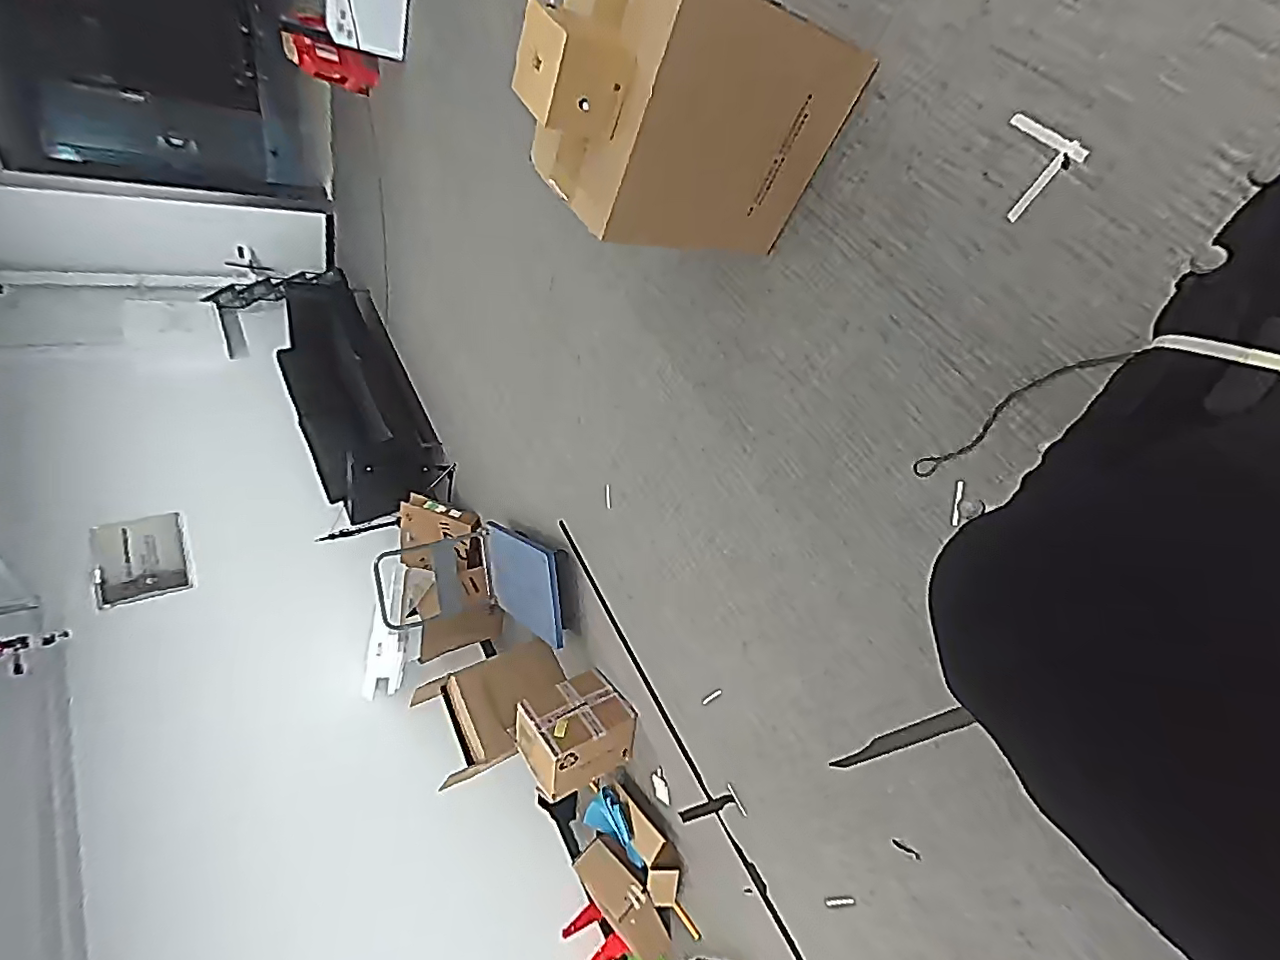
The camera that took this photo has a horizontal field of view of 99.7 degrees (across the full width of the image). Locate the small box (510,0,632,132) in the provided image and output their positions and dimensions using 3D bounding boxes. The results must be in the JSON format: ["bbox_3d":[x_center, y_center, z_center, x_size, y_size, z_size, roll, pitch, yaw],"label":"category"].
[{"bbox_3d":[-0.141,-0.840,1.099,0.179,0.176,0.168,58,141,24],"label":"small box"}]
